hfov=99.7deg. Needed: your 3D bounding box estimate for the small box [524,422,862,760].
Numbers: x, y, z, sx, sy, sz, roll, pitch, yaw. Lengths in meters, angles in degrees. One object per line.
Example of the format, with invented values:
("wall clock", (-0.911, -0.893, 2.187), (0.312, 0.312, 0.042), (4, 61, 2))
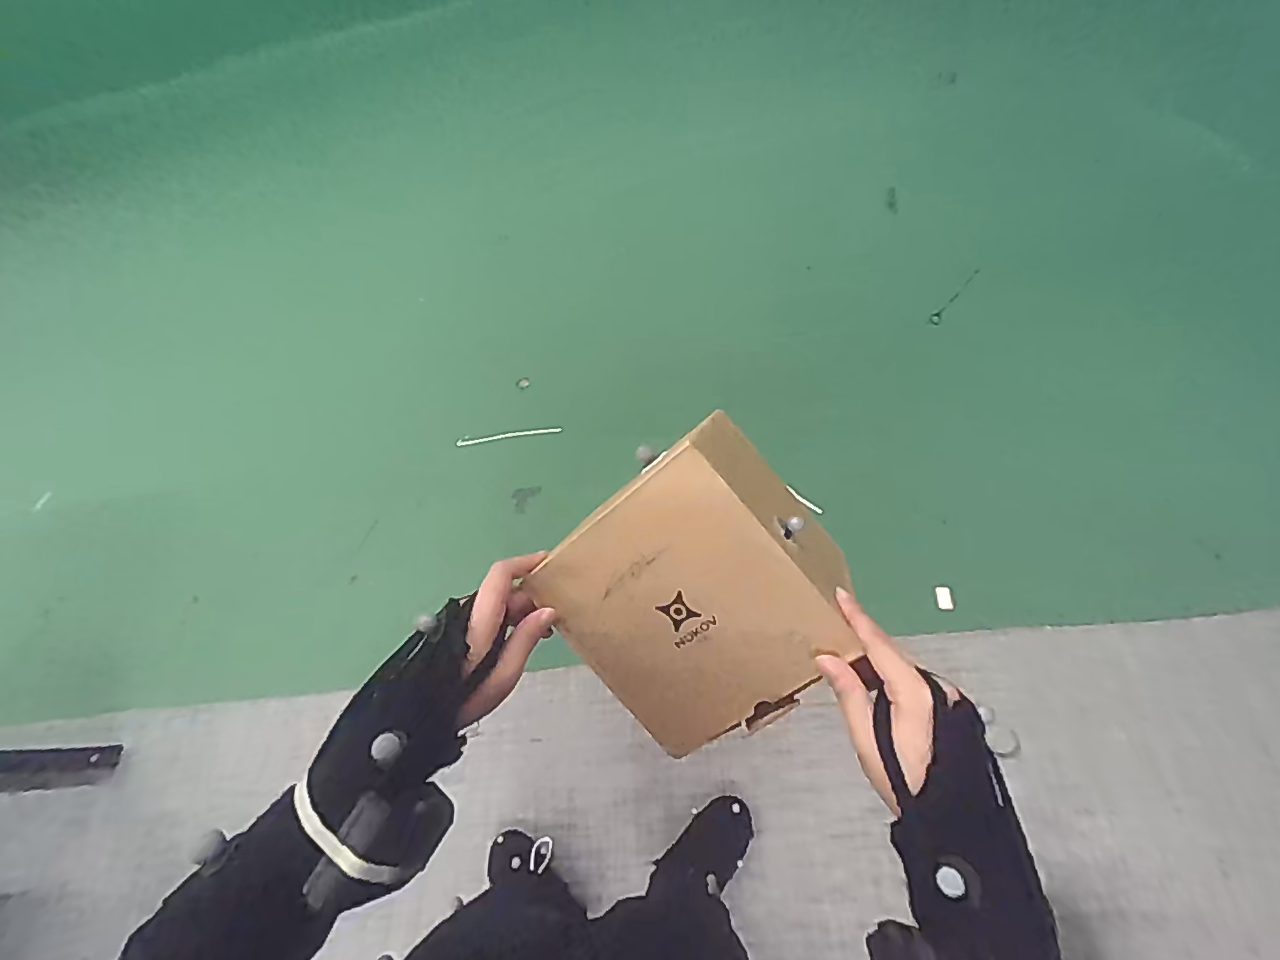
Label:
("small box", (0.048, 0.073, 0.438), (0.168, 0.176, 0.179), (-40, 91, 19))
